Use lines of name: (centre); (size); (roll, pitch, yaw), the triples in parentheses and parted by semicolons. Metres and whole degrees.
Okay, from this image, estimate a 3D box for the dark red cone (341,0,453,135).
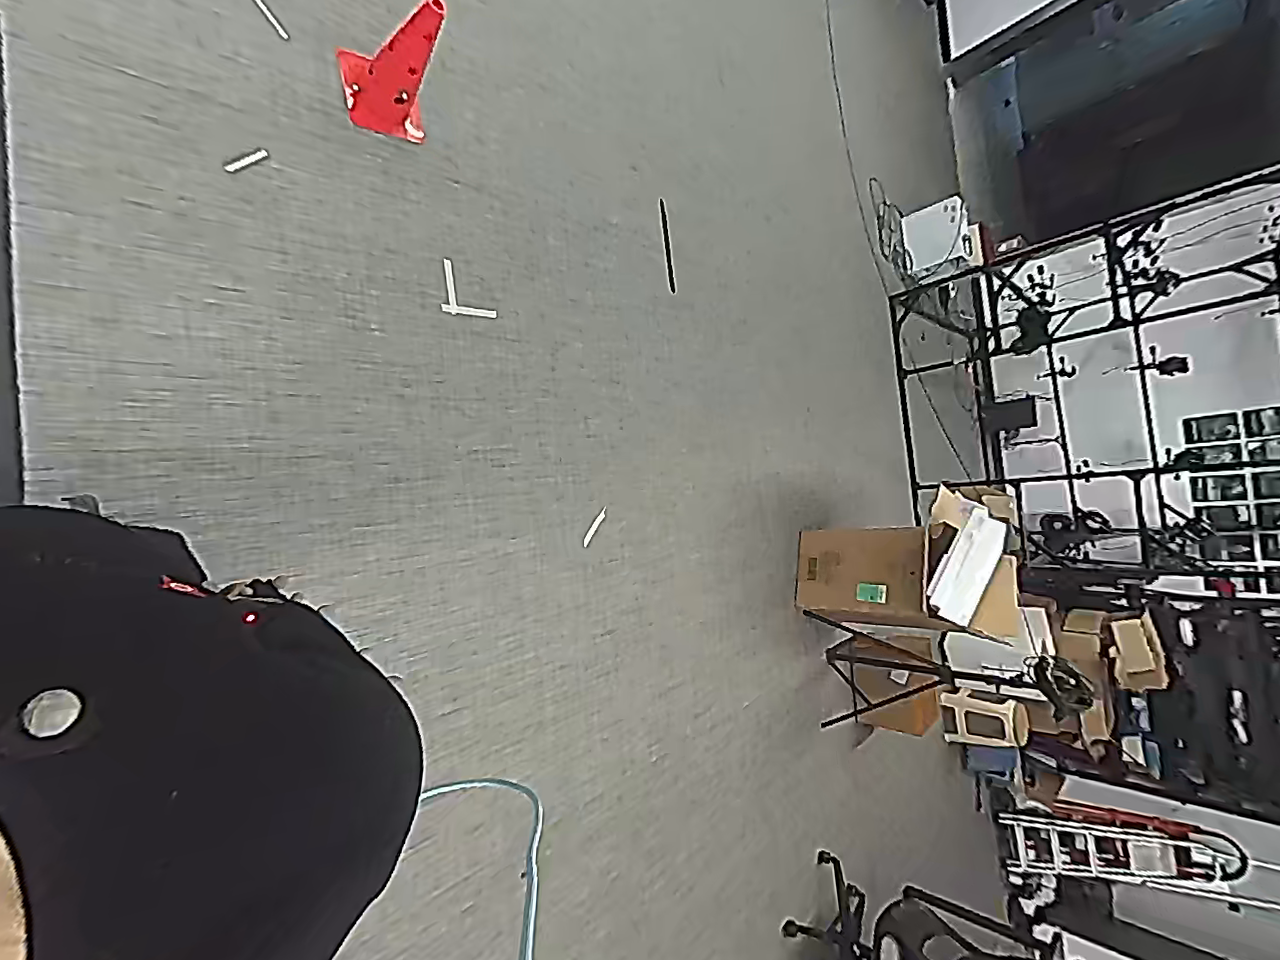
dark red cone: (-0.555, -1.044, 1.308); (0.201, 0.394, 0.202); (-14, 95, -44)
